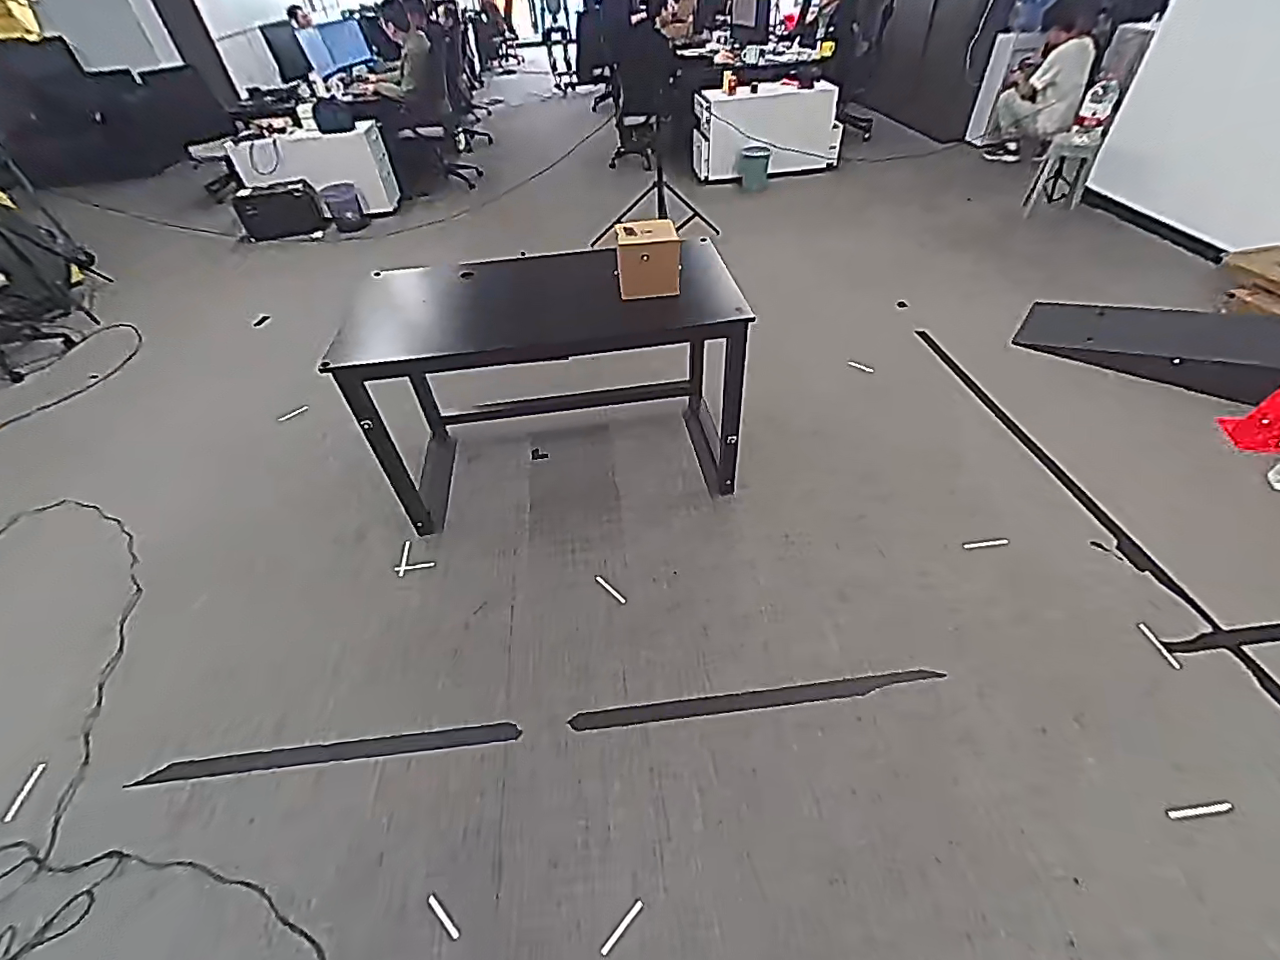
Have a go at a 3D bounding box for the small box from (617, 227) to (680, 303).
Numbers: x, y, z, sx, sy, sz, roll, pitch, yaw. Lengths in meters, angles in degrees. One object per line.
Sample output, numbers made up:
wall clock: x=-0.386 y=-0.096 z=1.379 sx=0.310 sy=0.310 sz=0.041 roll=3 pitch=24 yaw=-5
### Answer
small box: x=0.028 y=-0.656 z=1.658 sx=0.179 sy=0.176 sz=0.168 roll=-6 pitch=44 yaw=-2
